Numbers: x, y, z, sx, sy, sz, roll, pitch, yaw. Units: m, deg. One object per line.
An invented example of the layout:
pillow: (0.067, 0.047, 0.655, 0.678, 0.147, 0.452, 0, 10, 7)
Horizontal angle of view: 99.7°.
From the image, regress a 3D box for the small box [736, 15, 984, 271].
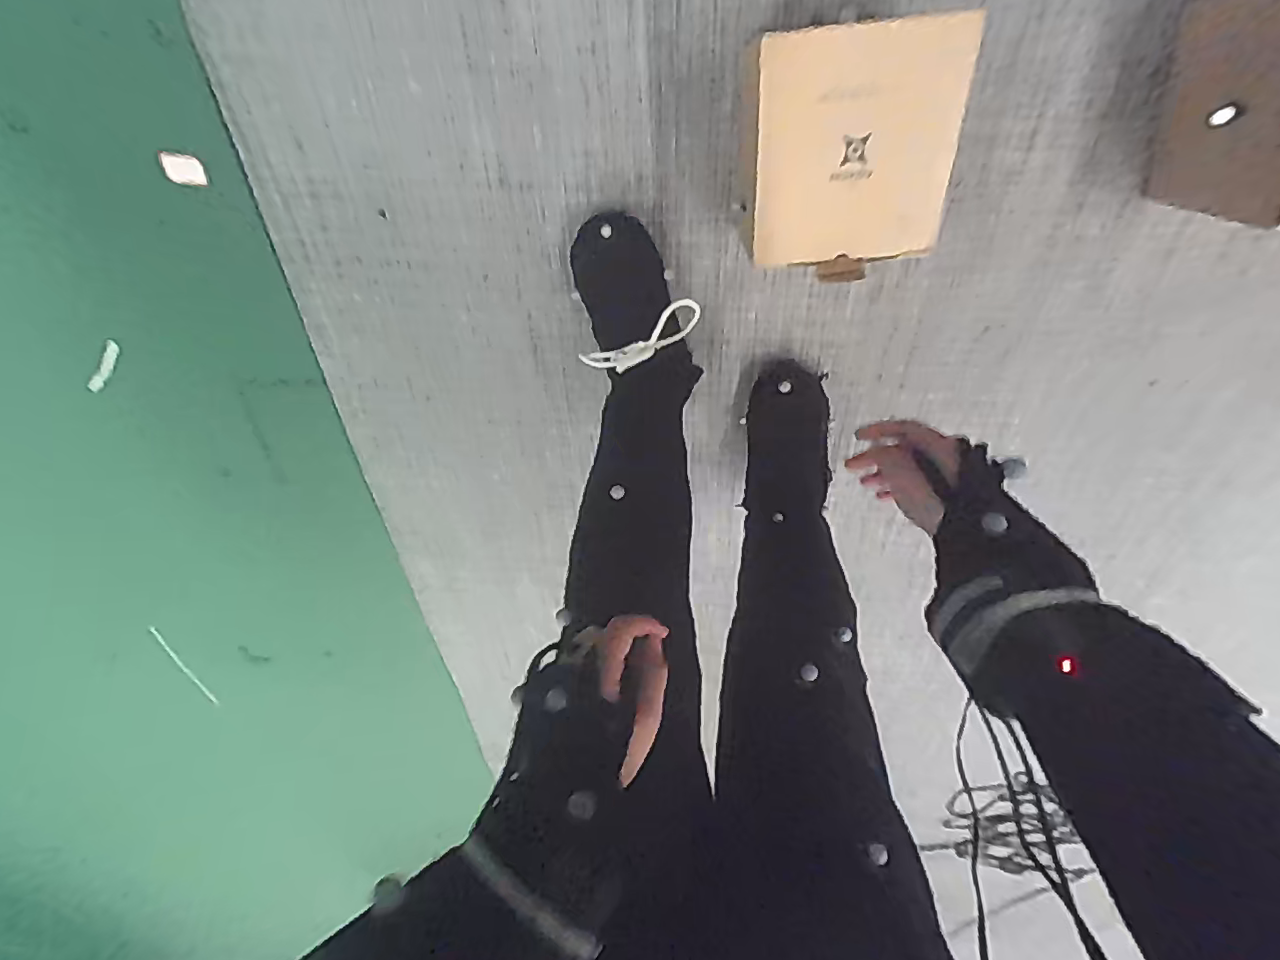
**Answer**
small box: (0.184, -0.316, 0.517, 0.168, 0.176, 0.179, -3, 125, 5)
